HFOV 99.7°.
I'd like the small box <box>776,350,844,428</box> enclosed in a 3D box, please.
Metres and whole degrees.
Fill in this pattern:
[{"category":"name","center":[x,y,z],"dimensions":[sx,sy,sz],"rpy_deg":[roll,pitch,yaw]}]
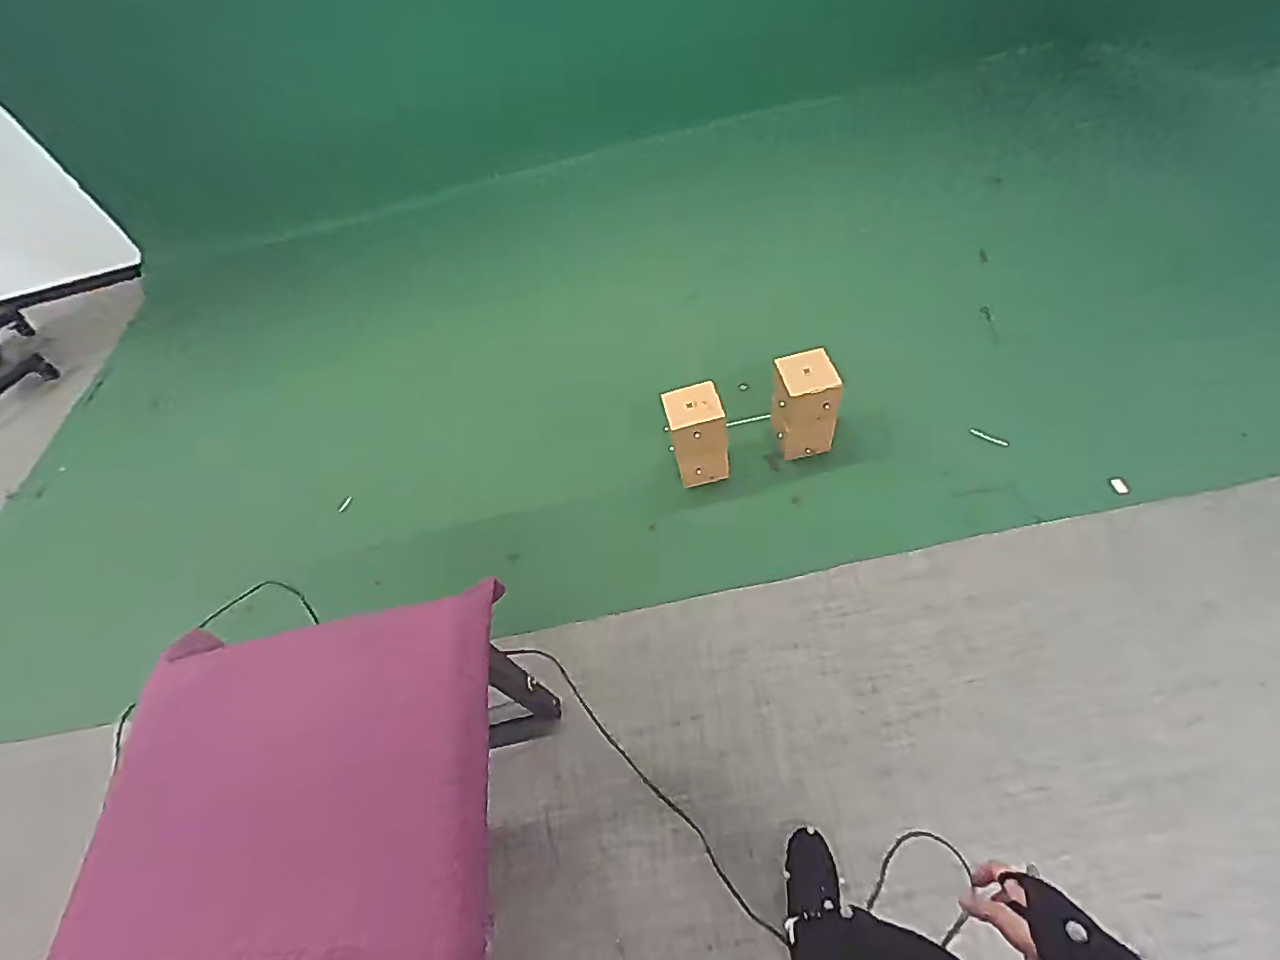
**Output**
[{"category":"small box","center":[0.550,-0.290,1.768],"dimensions":[0.168,0.176,0.179],"rpy_deg":[-13,54,2]}]

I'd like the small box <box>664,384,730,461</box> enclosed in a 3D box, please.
[{"category":"small box","center":[0.188,-0.183,1.773],"dimensions":[0.179,0.176,0.168],"rpy_deg":[-14,53,2]}]

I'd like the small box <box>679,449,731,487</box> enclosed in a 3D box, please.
[{"category":"small box","center":[0.219,-0.093,1.907],"dimensions":[0.168,0.176,0.179],"rpy_deg":[-14,53,3]}]
